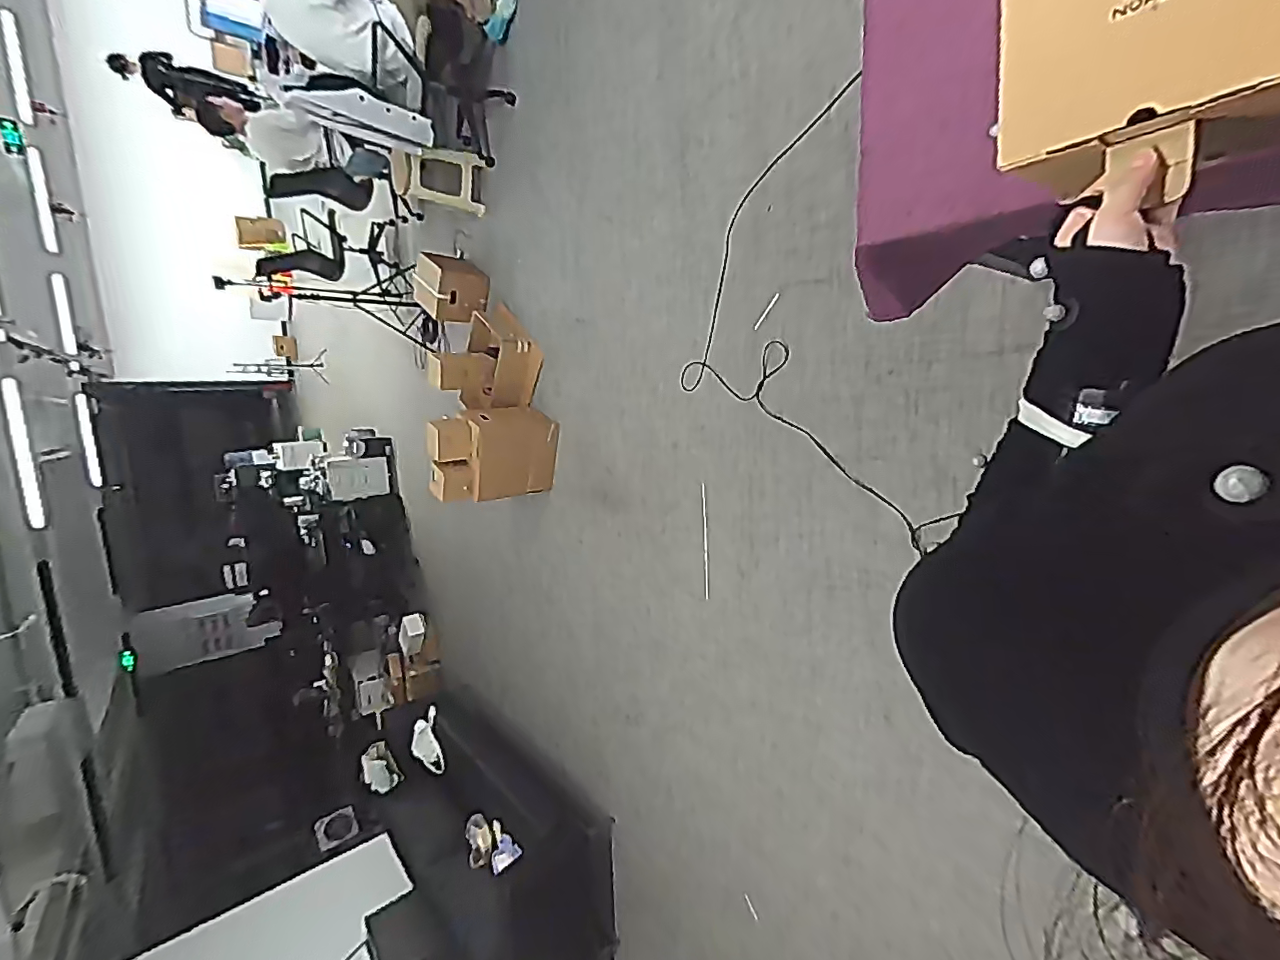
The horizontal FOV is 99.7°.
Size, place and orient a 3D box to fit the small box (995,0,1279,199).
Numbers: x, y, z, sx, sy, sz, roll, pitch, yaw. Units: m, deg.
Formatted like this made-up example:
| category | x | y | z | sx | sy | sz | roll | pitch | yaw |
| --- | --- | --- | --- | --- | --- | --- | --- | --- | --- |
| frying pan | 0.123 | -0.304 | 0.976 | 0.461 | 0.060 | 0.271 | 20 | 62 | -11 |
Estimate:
| category | x | y | z | sx | sy | sz | roll | pitch | yaw |
| --- | --- | --- | --- | --- | --- | --- | --- | --- | --- |
| small box | 0.390 | -0.338 | 0.406 | 0.168 | 0.176 | 0.179 | 6 | 105 | 50 |
